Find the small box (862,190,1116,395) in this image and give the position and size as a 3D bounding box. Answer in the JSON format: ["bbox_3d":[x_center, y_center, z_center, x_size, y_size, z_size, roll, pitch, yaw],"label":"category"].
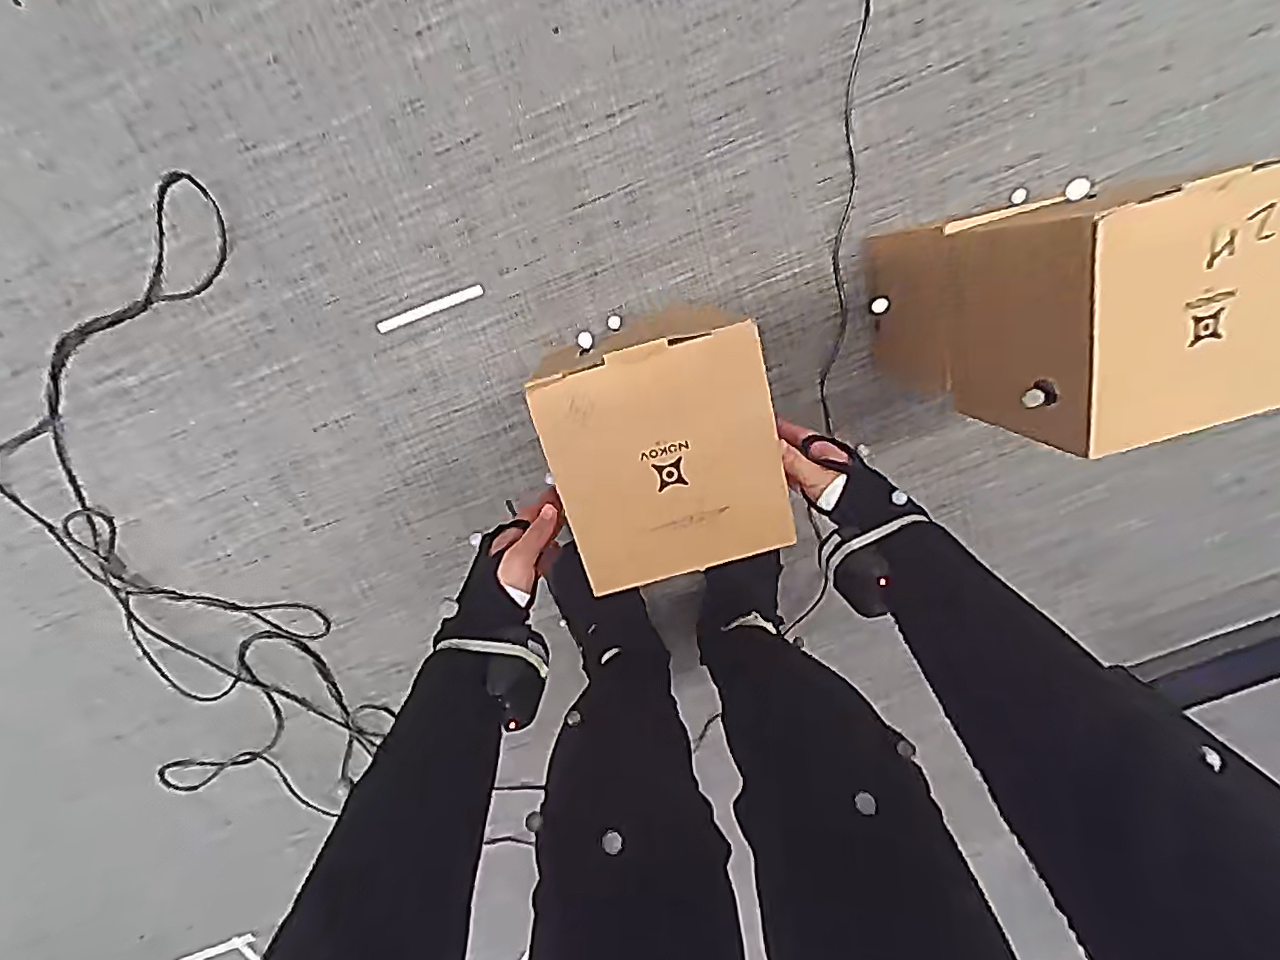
[{"bbox_3d":[0.373,-0.207,0.604,0.179,0.176,0.168,-13,110,1],"label":"small box"}]

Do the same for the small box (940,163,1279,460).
[{"bbox_3d":[0.382,-0.140,0.454,0.168,0.176,0.179,-16,110,1],"label":"small box"}]

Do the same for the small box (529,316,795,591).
[{"bbox_3d":[0.017,-0.037,0.471,0.168,0.176,0.179,-16,111,3],"label":"small box"}]
